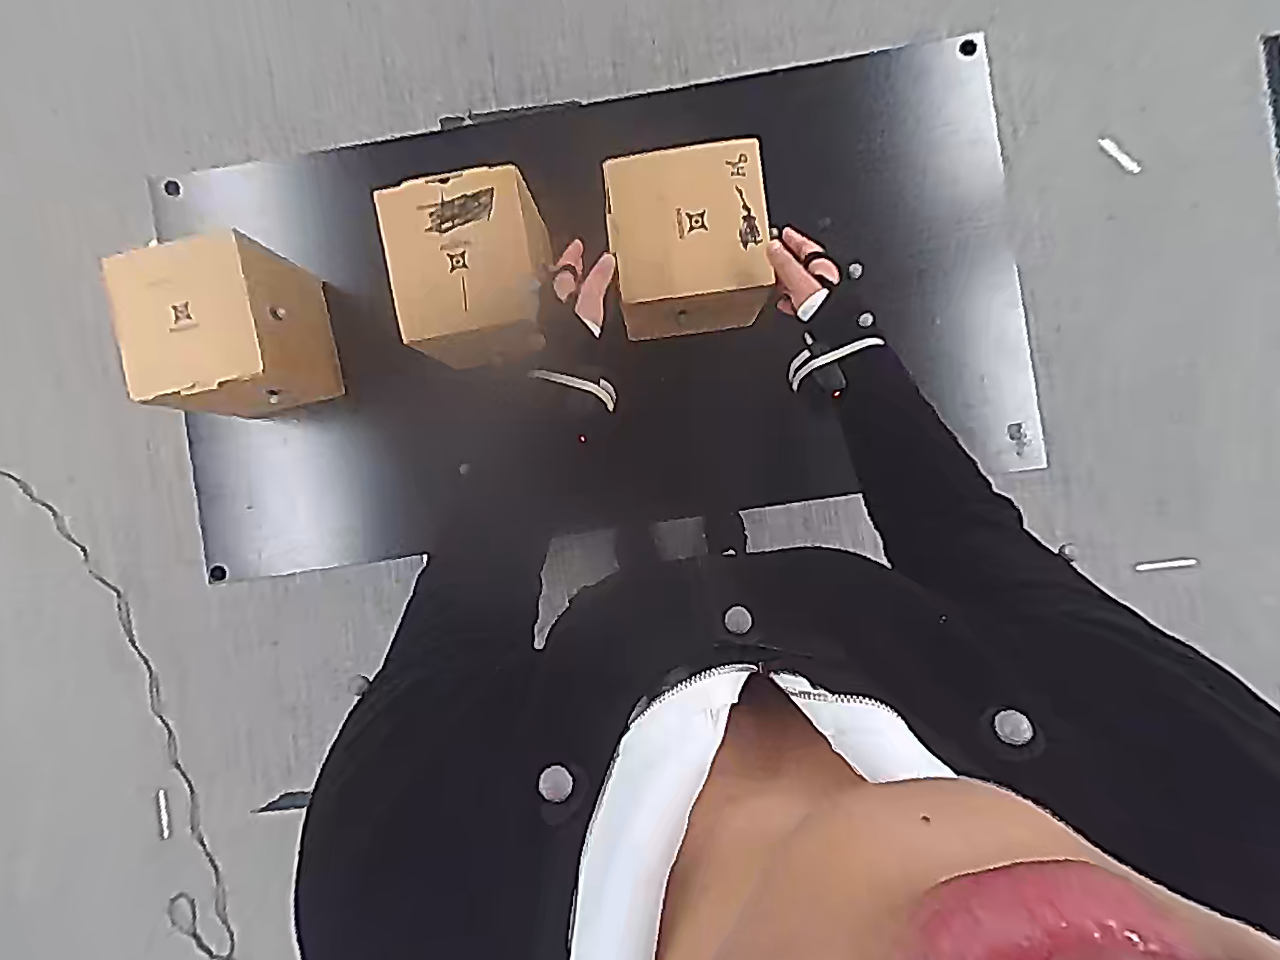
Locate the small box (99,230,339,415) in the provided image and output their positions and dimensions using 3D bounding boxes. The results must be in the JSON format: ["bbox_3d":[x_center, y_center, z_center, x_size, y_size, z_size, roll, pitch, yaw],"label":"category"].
[{"bbox_3d":[-0.524,-0.187,0.700,0.168,0.176,0.179,-12,89,1],"label":"small box"}]

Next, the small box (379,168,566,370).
[{"bbox_3d":[-0.198,-0.252,0.685,0.168,0.176,0.179,-10,91,2],"label":"small box"}]

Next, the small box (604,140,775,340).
[{"bbox_3d":[0.060,-0.282,0.675,0.179,0.176,0.168,-7,90,3],"label":"small box"}]
